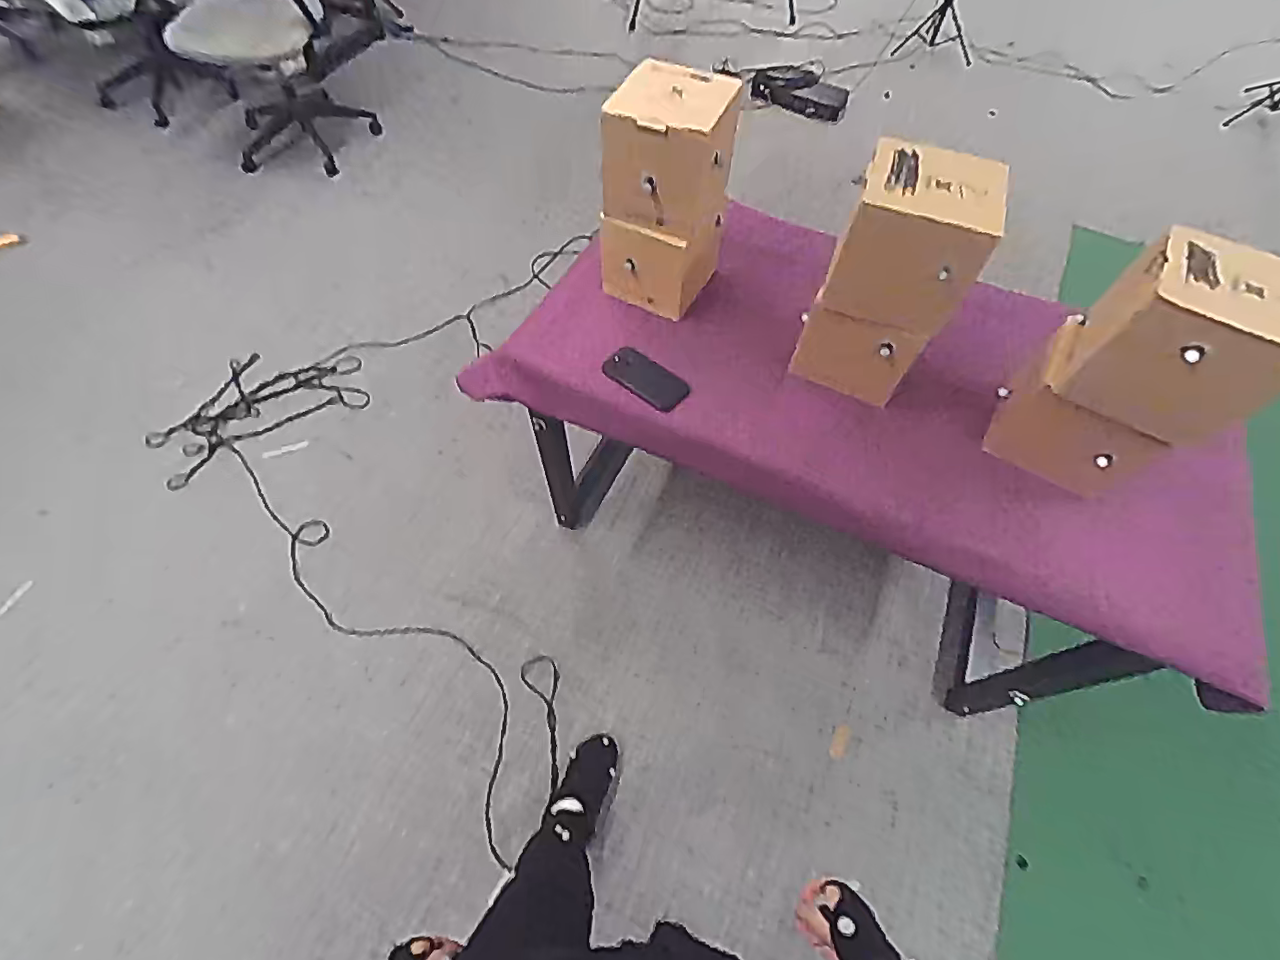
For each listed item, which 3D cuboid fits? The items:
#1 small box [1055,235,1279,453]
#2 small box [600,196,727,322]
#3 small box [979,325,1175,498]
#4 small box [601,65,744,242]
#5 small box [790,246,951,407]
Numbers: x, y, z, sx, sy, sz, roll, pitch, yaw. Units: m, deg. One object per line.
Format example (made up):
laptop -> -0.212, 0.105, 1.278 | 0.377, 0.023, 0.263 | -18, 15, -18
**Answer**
small box -> 0.674, -0.163, 0.677 | 0.179, 0.176, 0.168 | 31, 63, 15
small box -> 0.043, -0.428, 1.006 | 0.168, 0.176, 0.179 | 26, 62, 13
small box -> 0.670, -0.096, 0.827 | 0.179, 0.176, 0.168 | 31, 63, 16
small box -> 0.051, -0.518, 0.868 | 0.168, 0.176, 0.179 | 22, 62, 10
small box -> 0.377, -0.249, 0.908 | 0.179, 0.176, 0.168 | 25, 62, 13
